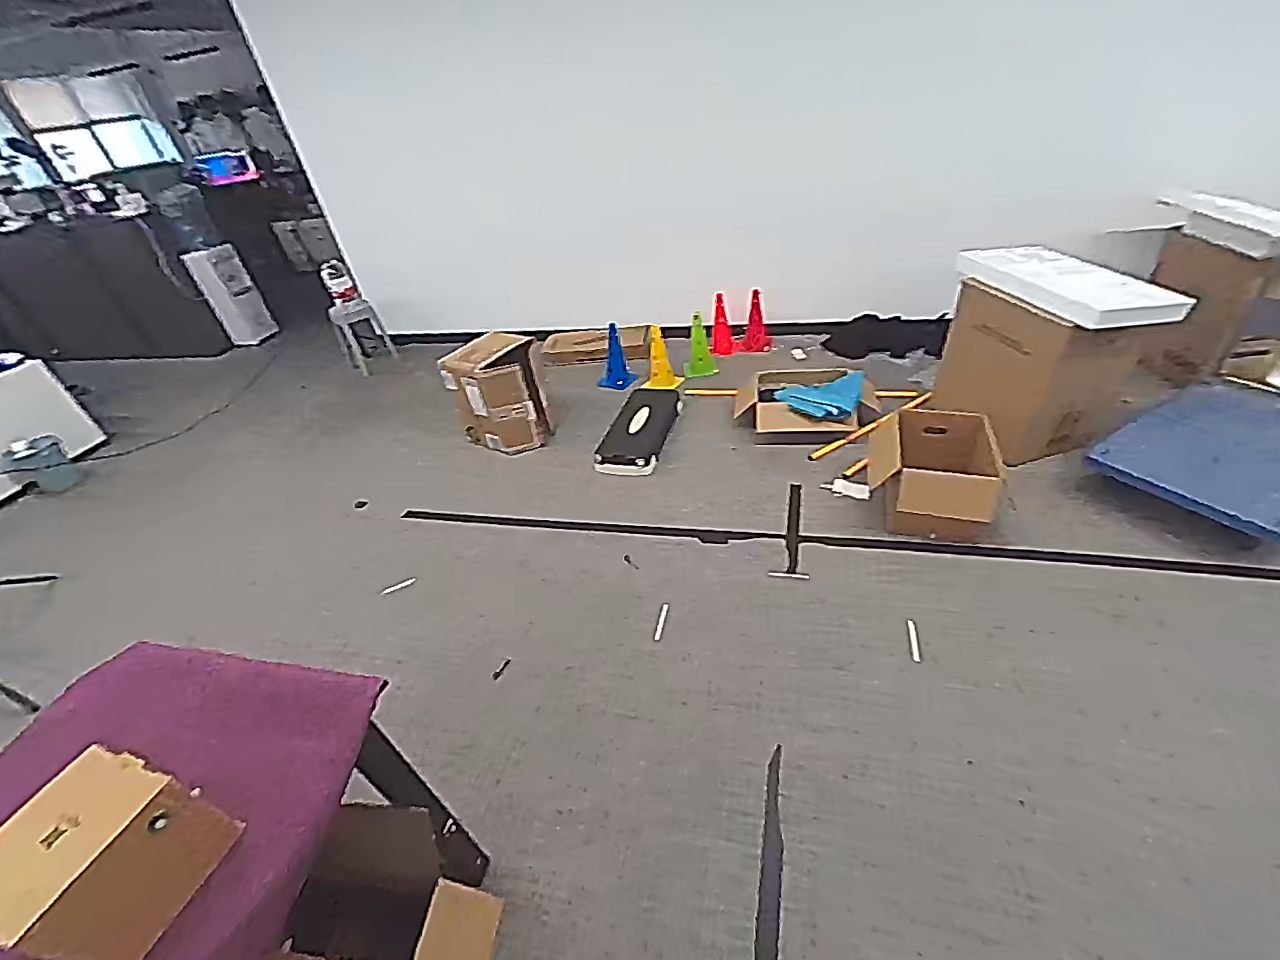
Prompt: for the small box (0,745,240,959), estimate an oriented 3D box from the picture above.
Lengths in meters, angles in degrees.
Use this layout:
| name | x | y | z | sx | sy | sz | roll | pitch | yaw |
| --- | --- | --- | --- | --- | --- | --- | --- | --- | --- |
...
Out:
| name | x | y | z | sx | sy | sz | roll | pitch | yaw |
| --- | --- | --- | --- | --- | --- | --- | --- | --- | --- |
| small box | -0.672 | 0.478 | 0.685 | 0.168 | 0.176 | 0.179 | 6 | 39 | 19 |
